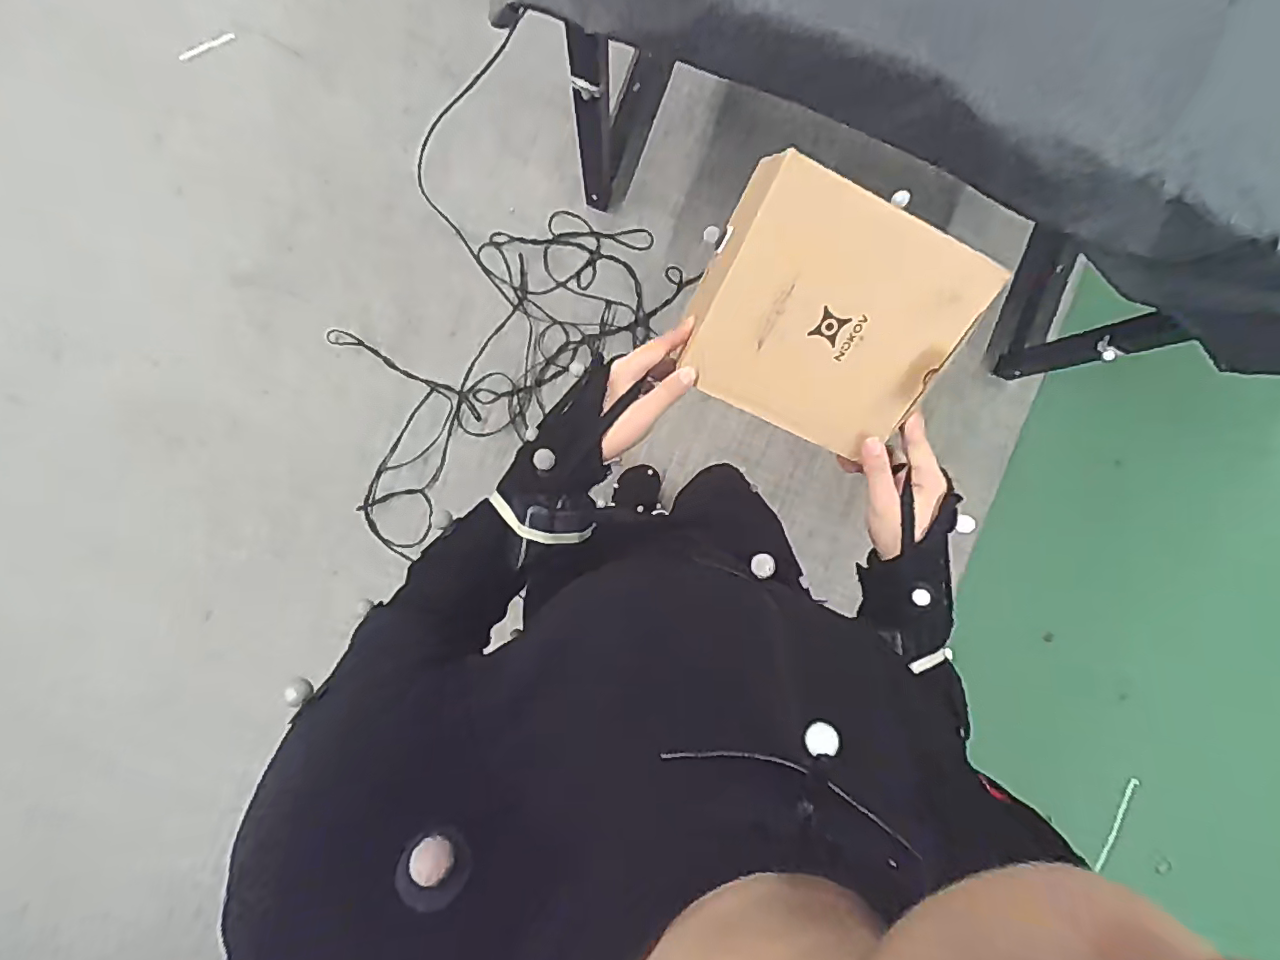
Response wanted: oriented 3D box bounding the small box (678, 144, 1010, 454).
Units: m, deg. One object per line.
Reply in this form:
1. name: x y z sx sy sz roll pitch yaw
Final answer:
1. small box: 0.145 -0.154 0.456 0.179 0.176 0.168 23 117 -7
